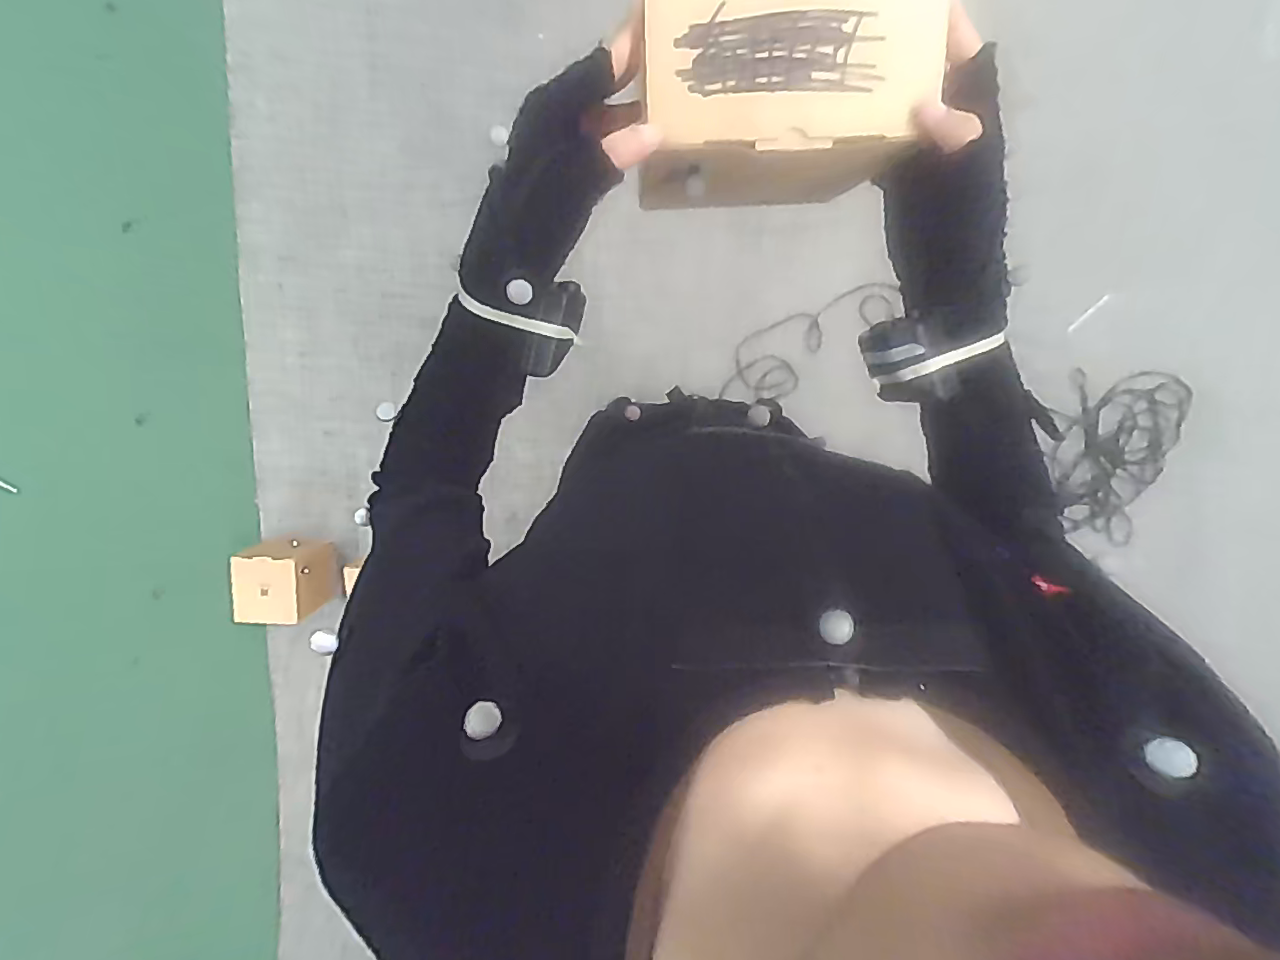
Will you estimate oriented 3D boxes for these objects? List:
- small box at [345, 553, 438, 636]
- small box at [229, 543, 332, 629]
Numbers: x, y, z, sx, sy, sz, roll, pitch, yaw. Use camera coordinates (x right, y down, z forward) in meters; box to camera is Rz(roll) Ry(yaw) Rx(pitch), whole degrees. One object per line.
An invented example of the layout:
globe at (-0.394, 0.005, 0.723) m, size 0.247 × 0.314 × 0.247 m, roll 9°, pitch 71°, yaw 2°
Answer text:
small box at (-0.652, 0.296, 1.434) m, size 0.168 × 0.176 × 0.179 m, roll -2°, pitch 99°, yaw 1°
small box at (-0.944, 0.276, 1.434) m, size 0.168 × 0.176 × 0.179 m, roll 2°, pitch 98°, yaw -1°
